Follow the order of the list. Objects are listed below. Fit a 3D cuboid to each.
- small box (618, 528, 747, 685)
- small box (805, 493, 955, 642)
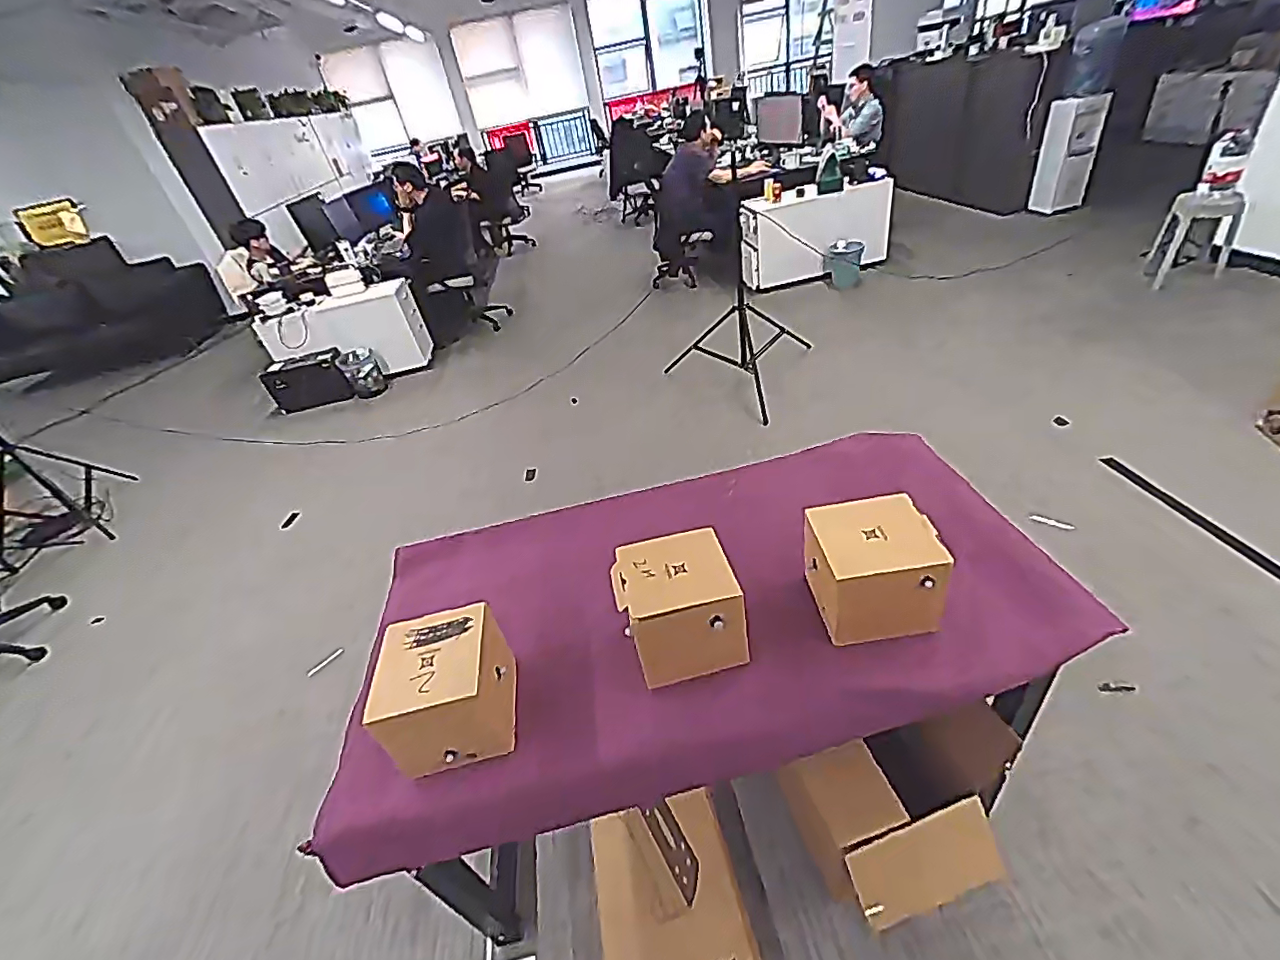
[{"bbox_3d":[0.073,0.211,0.904,0.179,0.176,0.168,-14,34,-3],"label":"small box"},{"bbox_3d":[0.385,0.148,0.899,0.179,0.176,0.168,-10,37,3],"label":"small box"}]
